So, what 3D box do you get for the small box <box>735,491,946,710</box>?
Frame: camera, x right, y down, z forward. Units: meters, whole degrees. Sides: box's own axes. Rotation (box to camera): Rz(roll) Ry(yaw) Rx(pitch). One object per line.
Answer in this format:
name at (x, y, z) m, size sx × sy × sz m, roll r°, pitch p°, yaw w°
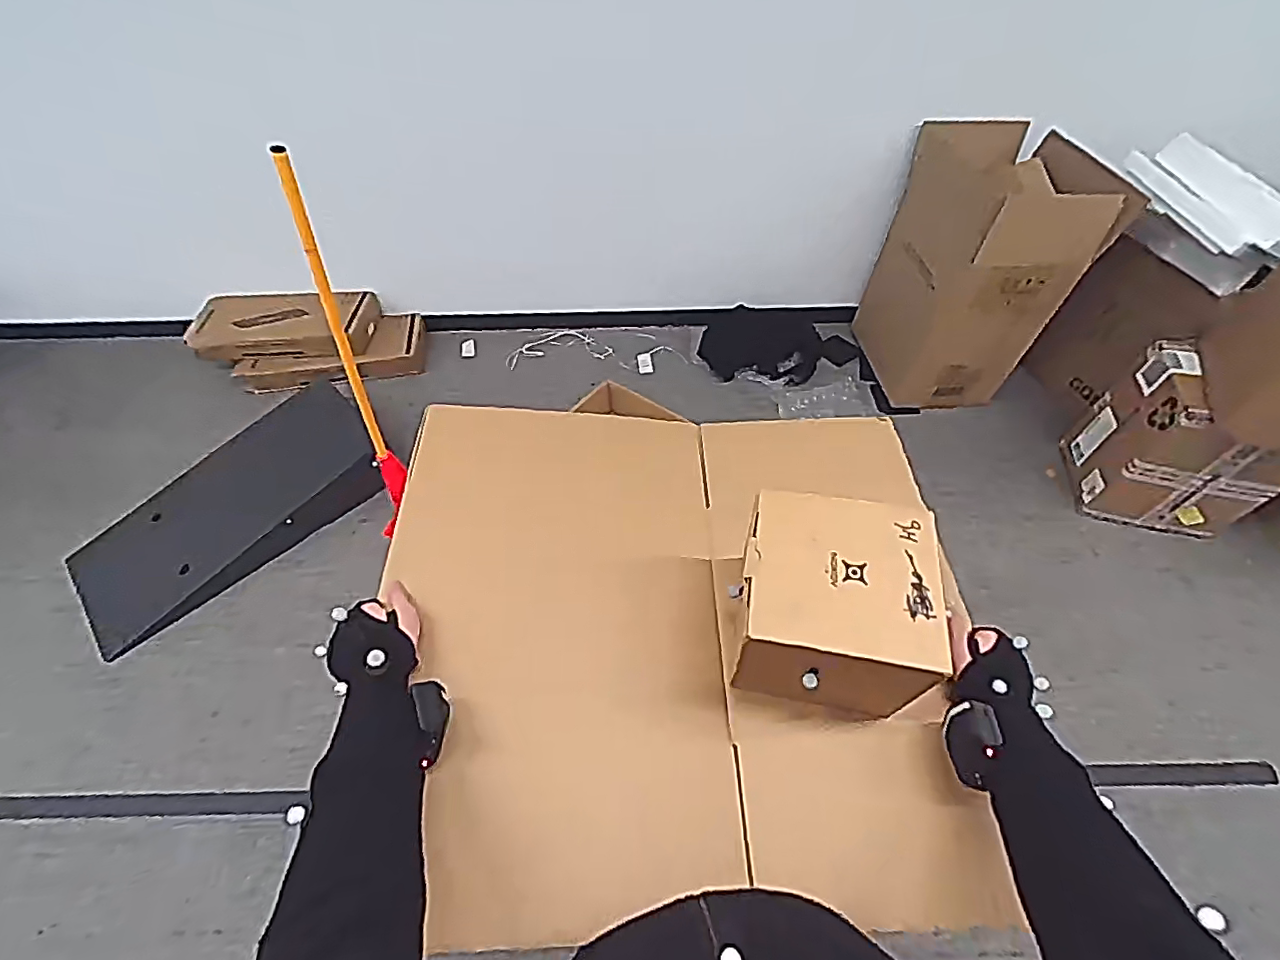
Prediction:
small box at (0.201, 0.134, 0.585) m, size 0.179 × 0.176 × 0.168 m, roll 8°, pitch 56°, yaw 10°
